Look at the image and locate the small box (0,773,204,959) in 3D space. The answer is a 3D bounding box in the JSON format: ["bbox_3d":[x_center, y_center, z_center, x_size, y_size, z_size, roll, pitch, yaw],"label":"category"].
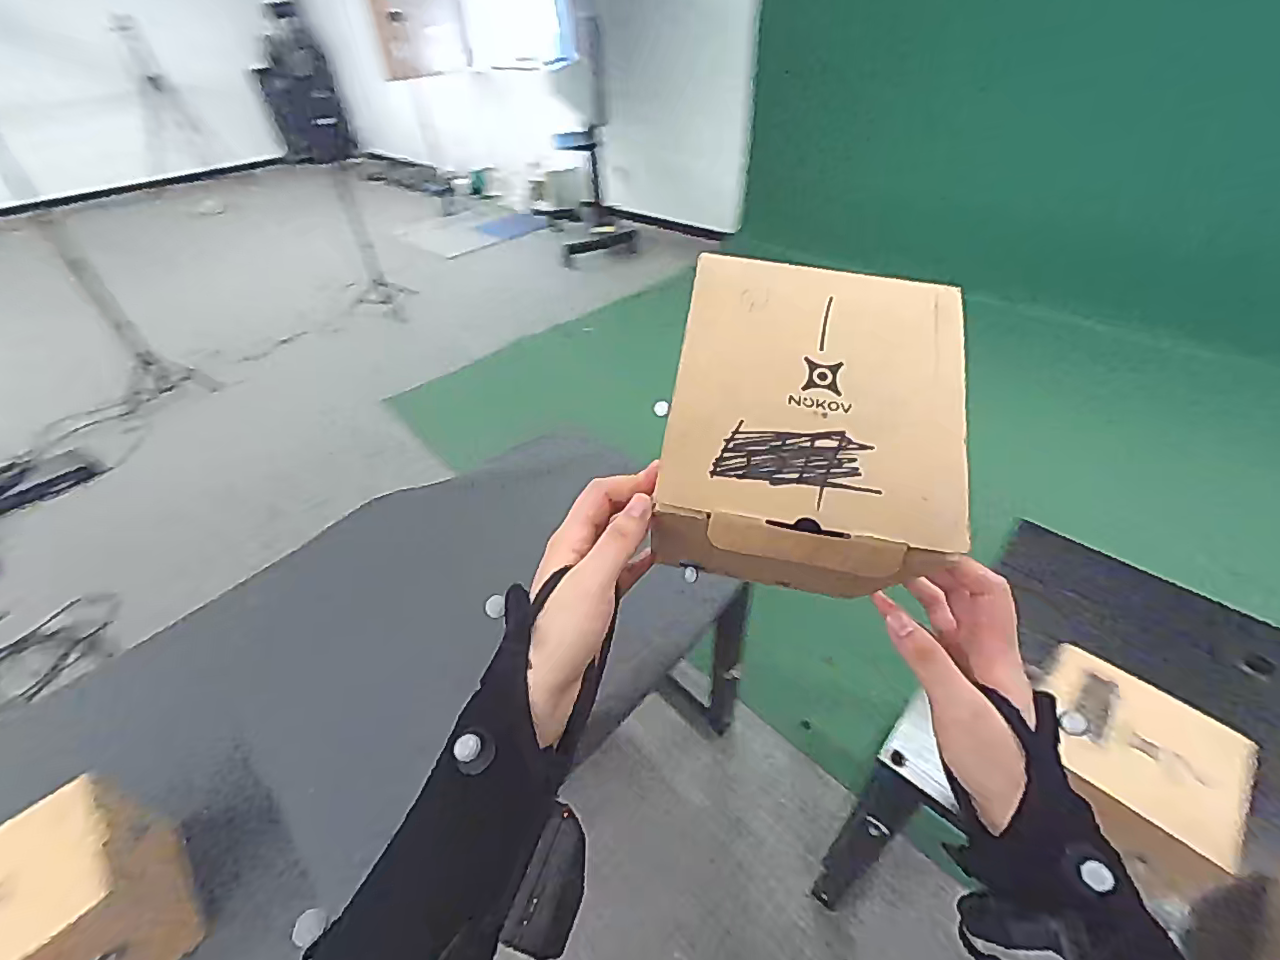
[{"bbox_3d":[-0.607,0.464,0.570,0.168,0.176,0.179,29,52,35],"label":"small box"}]
